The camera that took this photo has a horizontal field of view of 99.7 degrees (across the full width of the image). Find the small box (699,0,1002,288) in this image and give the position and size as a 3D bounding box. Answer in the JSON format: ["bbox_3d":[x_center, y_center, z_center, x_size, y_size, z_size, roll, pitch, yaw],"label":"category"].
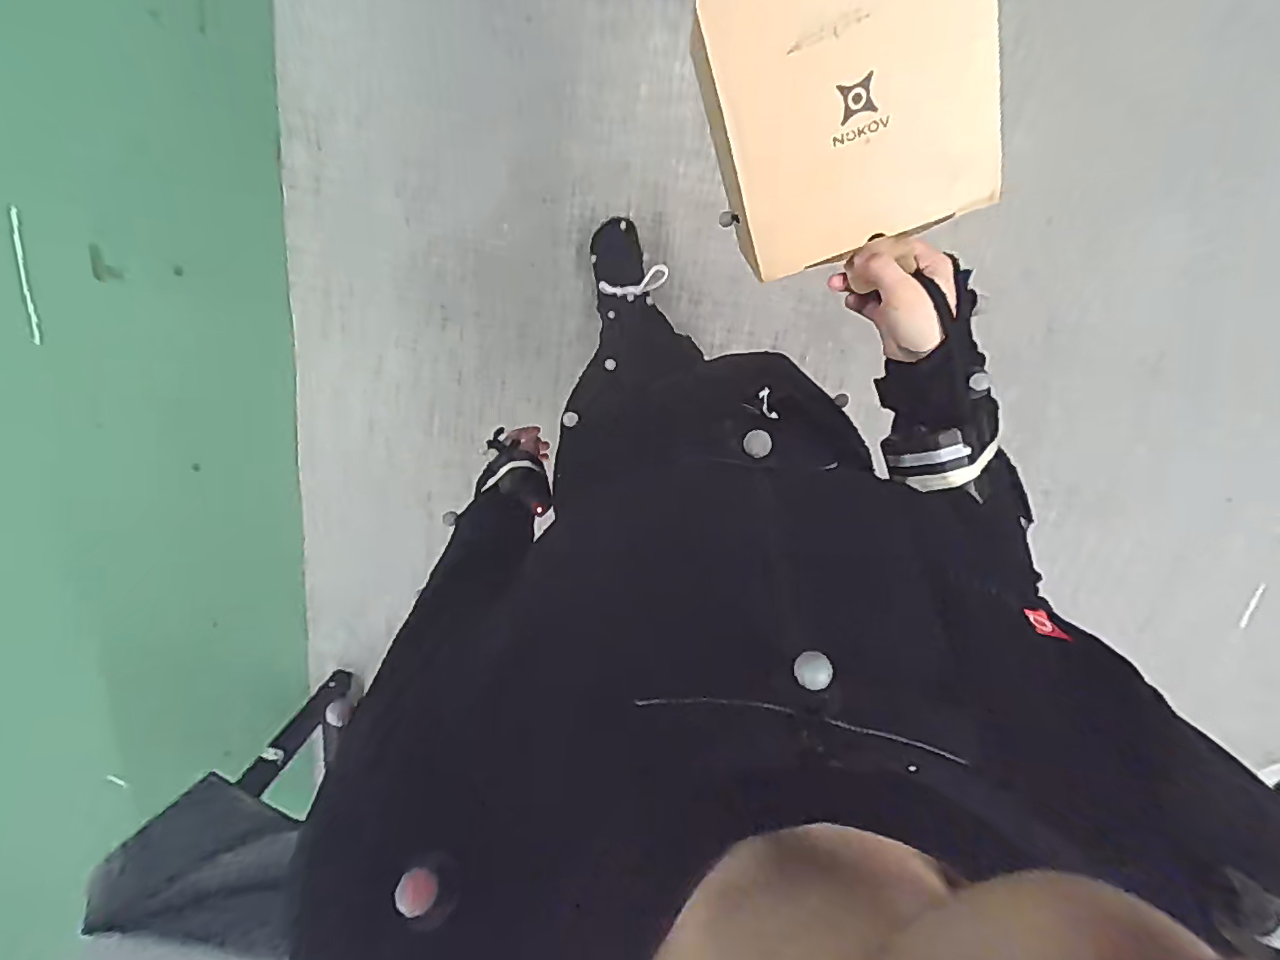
[{"bbox_3d":[0.147,-0.274,0.416,0.168,0.176,0.179,-16,117,13],"label":"small box"}]
